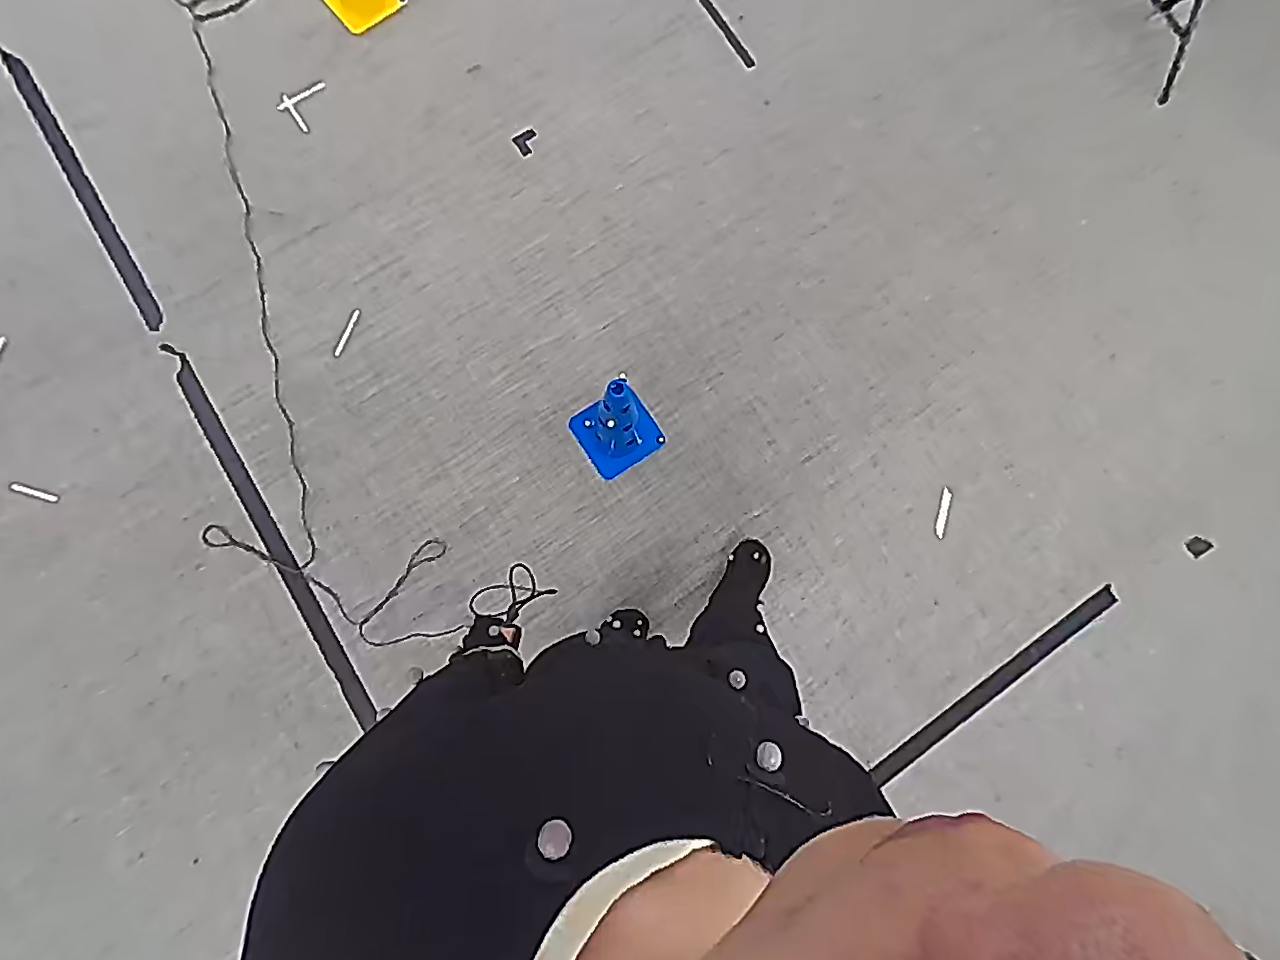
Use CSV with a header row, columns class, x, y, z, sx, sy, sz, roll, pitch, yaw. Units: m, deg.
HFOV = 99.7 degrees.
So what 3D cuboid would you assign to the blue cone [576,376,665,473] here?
class,x,y,z,sx,sy,sz,roll,pitch,yaw
blue cone,-0.046,-0.156,1.257,0.192,0.380,0.193,-32,83,-8
